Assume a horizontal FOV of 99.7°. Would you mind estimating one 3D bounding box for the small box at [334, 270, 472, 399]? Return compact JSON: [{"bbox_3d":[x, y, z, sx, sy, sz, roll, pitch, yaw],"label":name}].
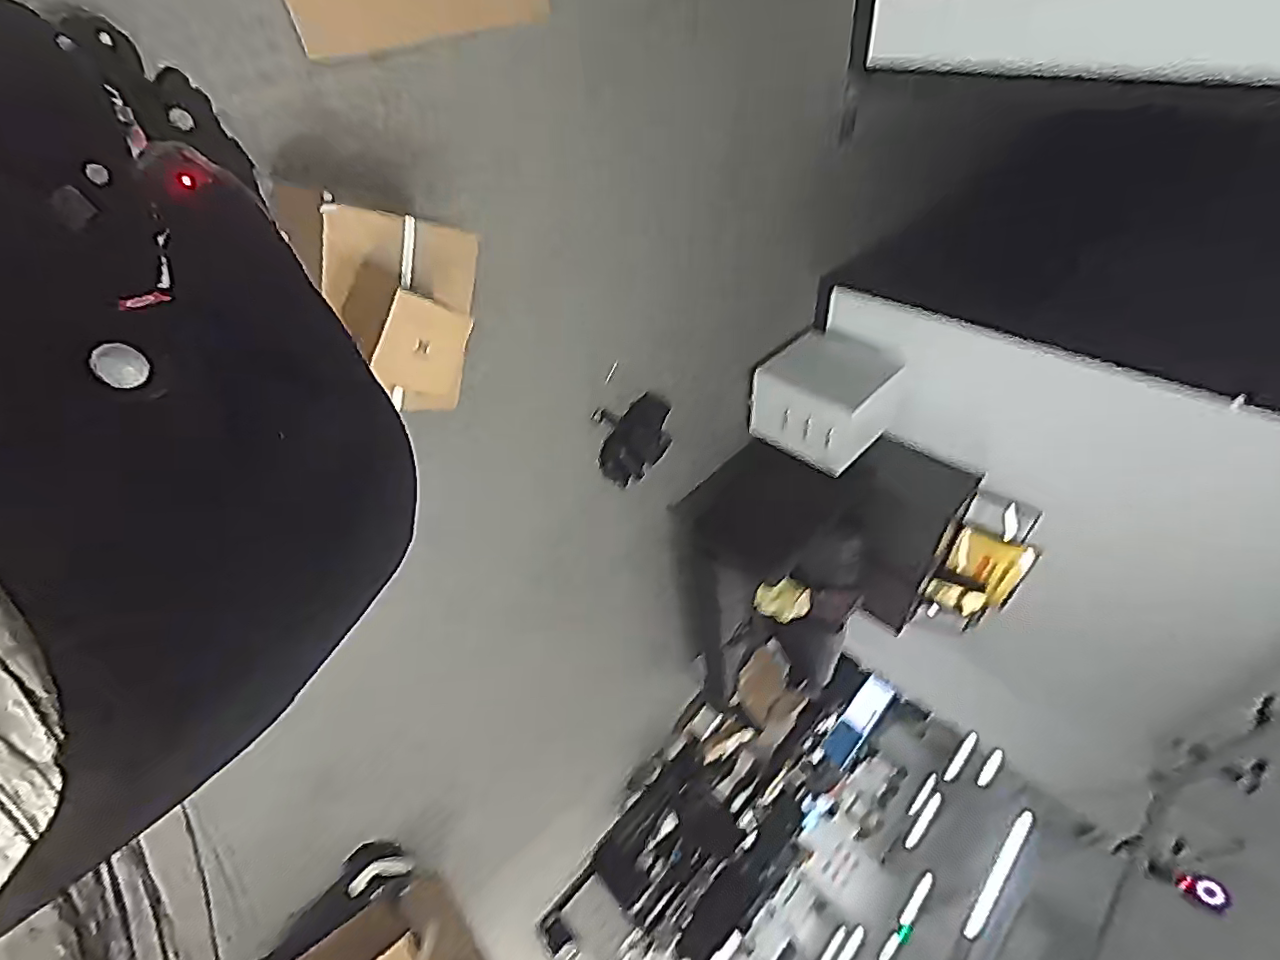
[{"bbox_3d":[-0.468,-0.283,1.057,0.168,0.176,0.179,9,109,-54],"label":"small box"}]
